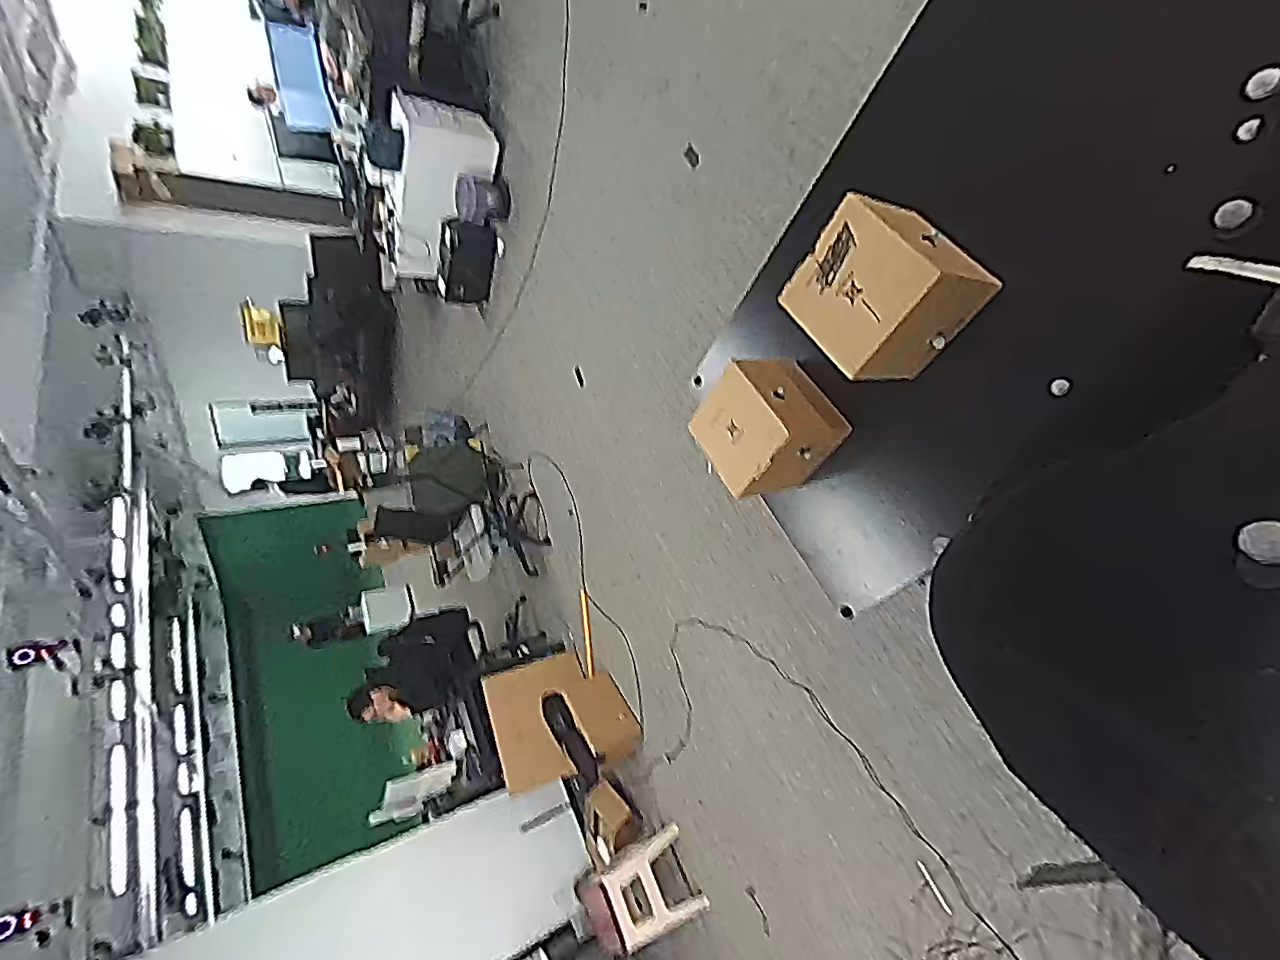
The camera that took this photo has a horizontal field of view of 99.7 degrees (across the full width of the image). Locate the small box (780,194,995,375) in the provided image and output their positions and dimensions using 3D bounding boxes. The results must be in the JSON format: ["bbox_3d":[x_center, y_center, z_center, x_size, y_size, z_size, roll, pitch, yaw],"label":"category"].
[{"bbox_3d":[0.340,-0.262,0.756,0.179,0.176,0.168,60,140,27],"label":"small box"}]

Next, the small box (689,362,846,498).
[{"bbox_3d":[0.225,-0.093,0.957,0.179,0.176,0.168,60,139,29],"label":"small box"}]
